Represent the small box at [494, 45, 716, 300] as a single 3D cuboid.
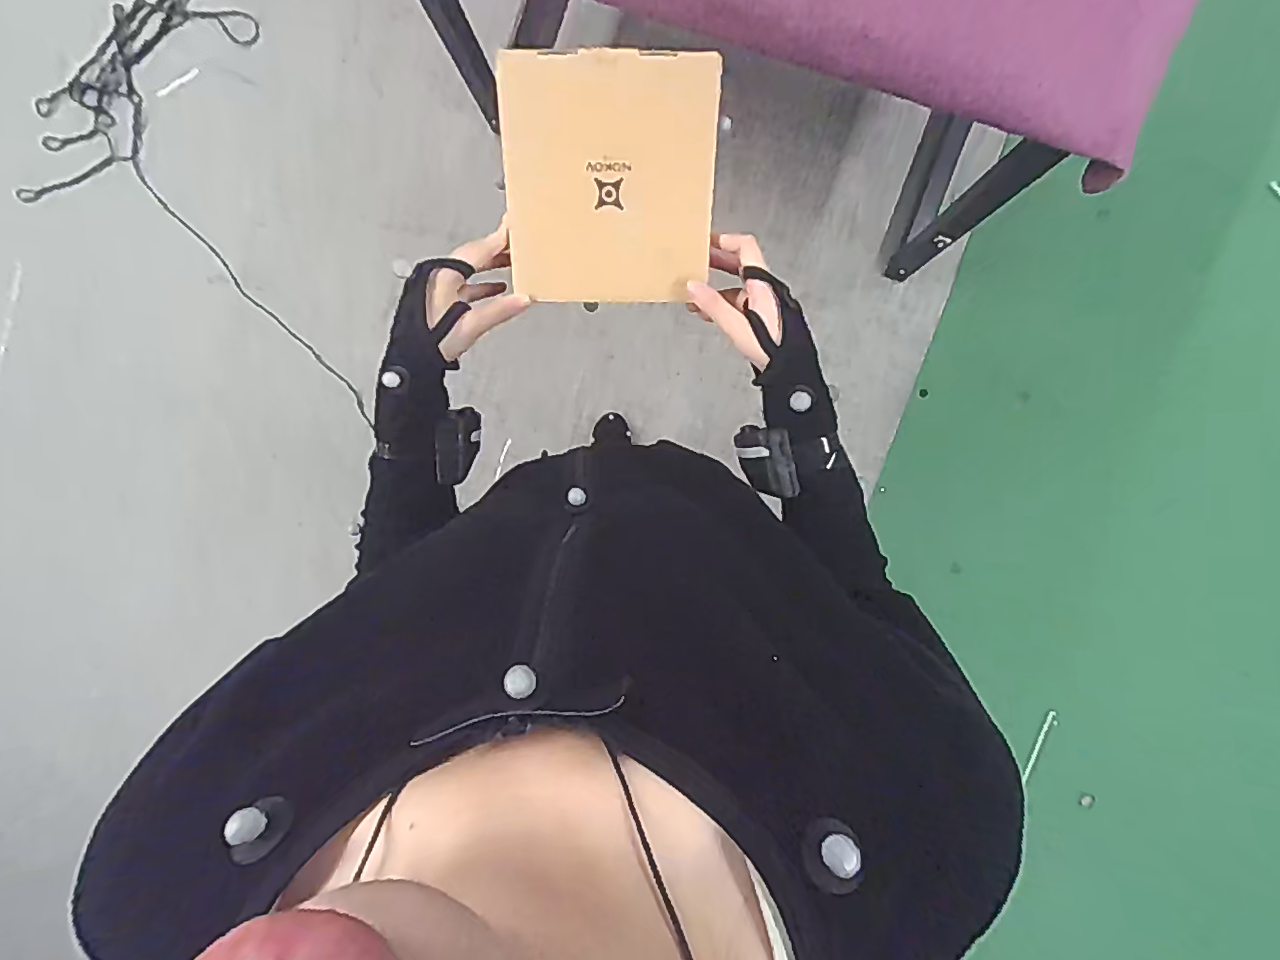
[{"bbox_3d":[-0.027,-0.265,0.498,0.168,0.176,0.179,0,112,-1],"label":"small box"}]
